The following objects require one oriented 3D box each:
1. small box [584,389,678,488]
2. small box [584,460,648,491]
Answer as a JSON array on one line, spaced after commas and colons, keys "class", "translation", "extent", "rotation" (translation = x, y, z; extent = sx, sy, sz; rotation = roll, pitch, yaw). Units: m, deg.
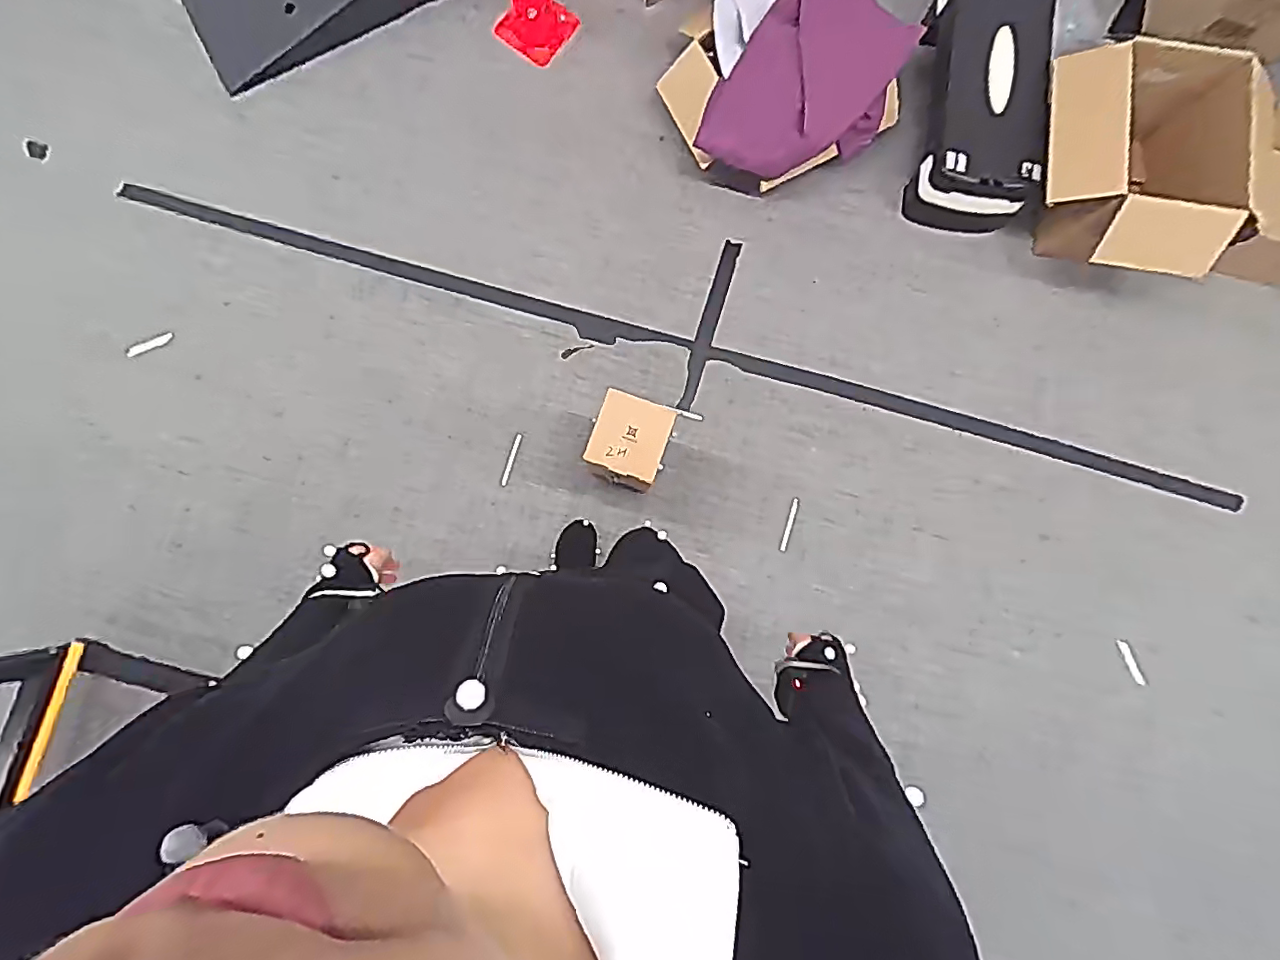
[{"class": "small box", "translation": [-0.023, -0.091, 1.280], "extent": [0.168, 0.176, 0.179], "rotation": [20, 86, 1]}, {"class": "small box", "translation": [-0.034, -0.075, 1.444], "extent": [0.179, 0.176, 0.168], "rotation": [21, 85, 0]}]
